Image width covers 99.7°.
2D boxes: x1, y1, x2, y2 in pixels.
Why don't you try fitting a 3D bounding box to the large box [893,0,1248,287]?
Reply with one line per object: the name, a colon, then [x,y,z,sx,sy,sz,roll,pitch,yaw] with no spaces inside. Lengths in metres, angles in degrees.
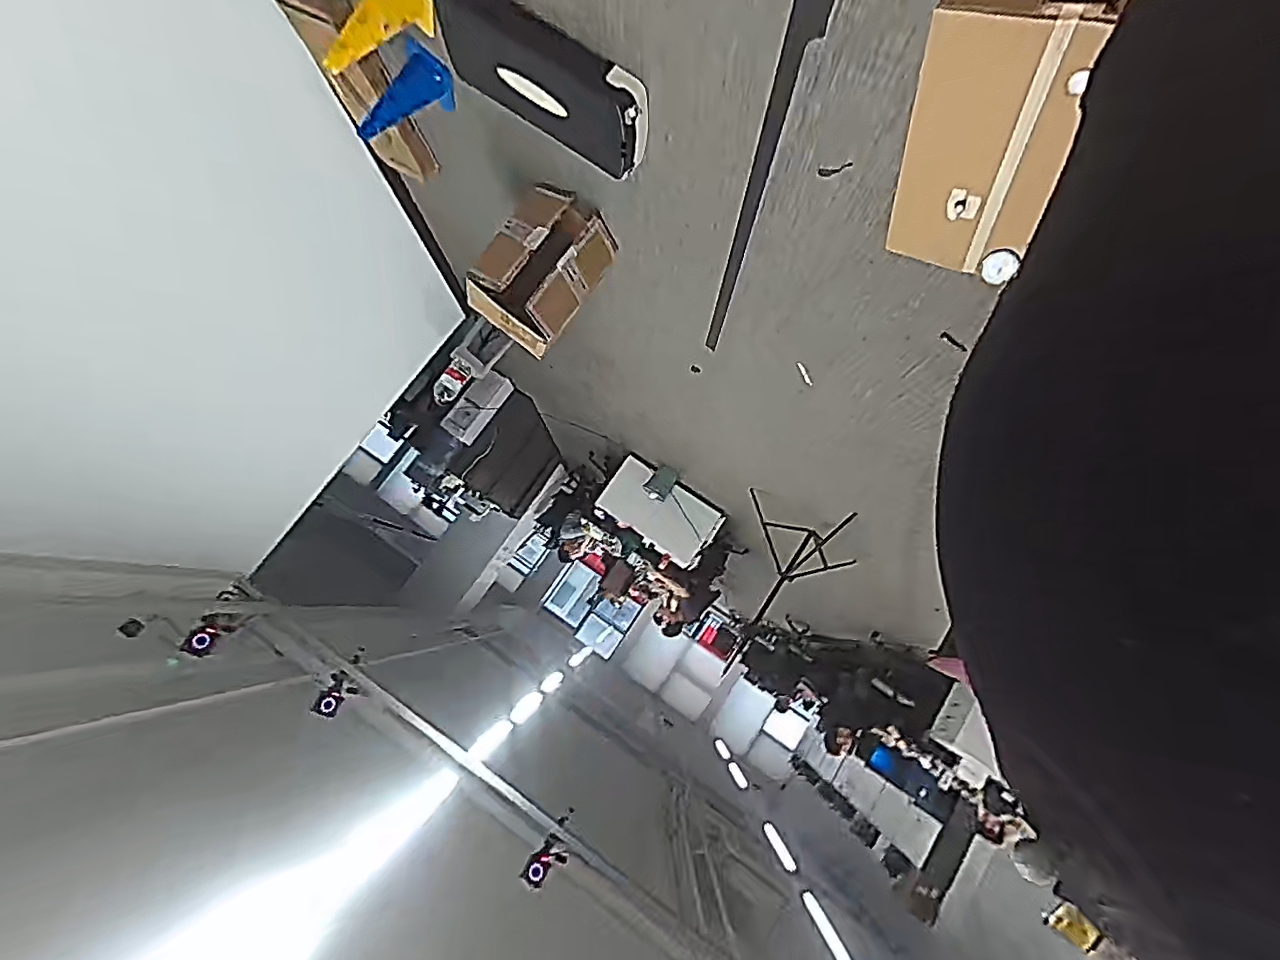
large box: [0.622,-0.579,0.807,0.320,0.320,0.408,30,170,25]
